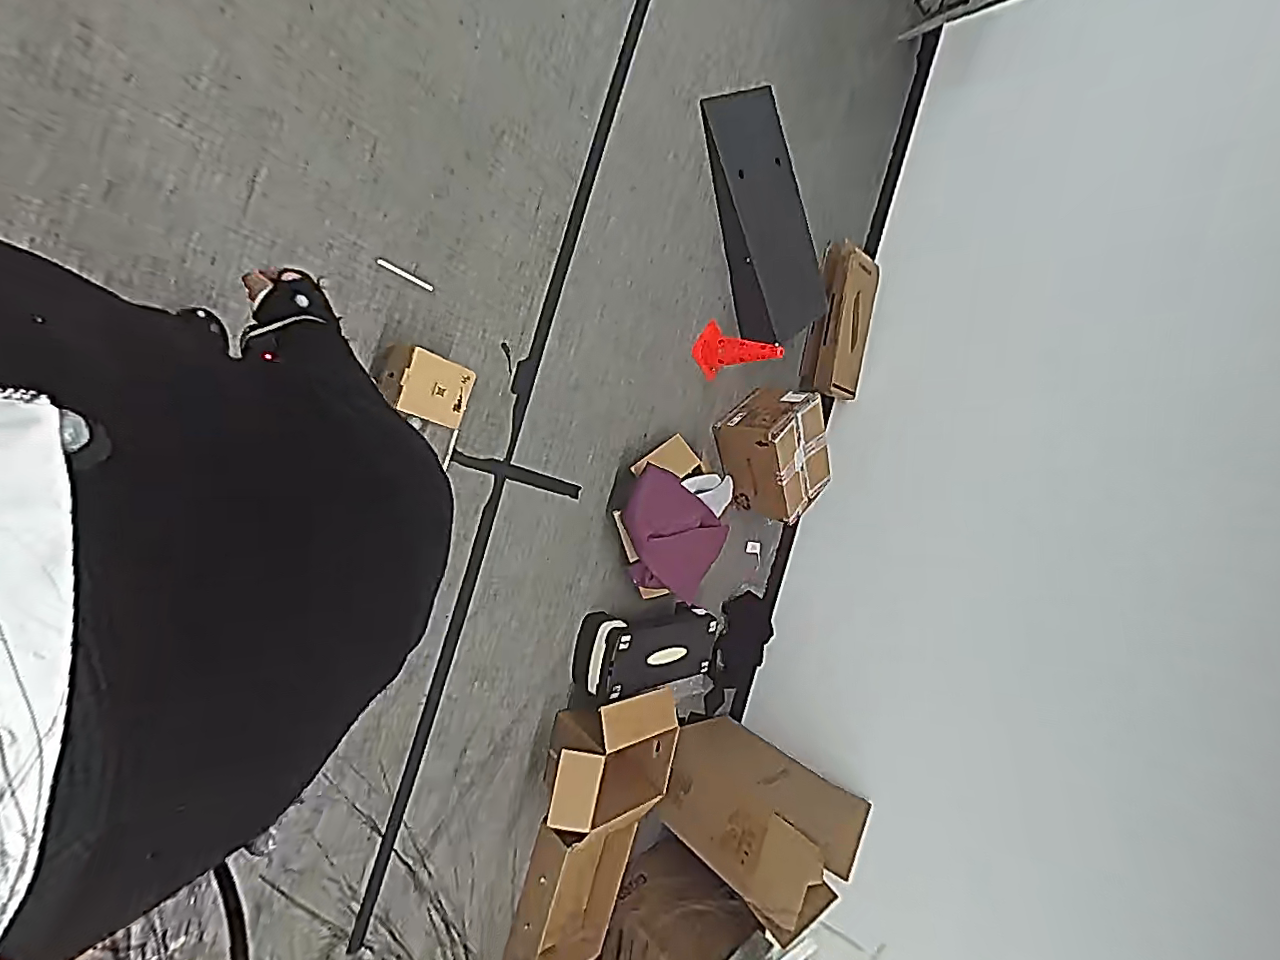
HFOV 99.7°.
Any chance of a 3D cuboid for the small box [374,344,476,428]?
[{"bbox_3d":[-0.572,-0.246,1.431,0.179,0.176,0.168,21,85,-46],"label":"small box"}]
